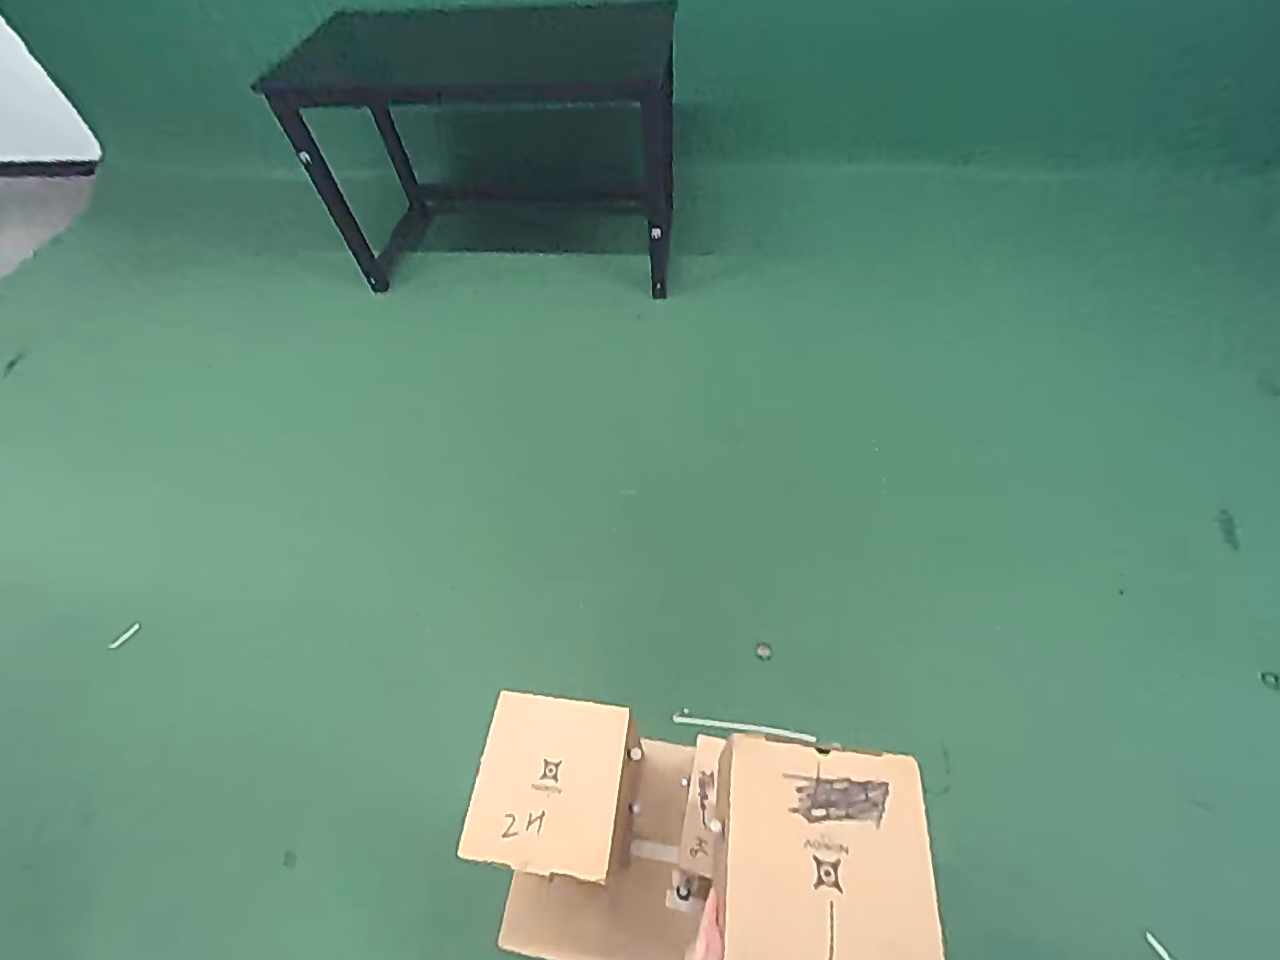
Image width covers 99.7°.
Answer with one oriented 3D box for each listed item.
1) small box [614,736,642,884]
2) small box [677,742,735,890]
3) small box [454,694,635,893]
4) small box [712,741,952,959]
[{"bbox_3d":[-0.091,0.479,0.808,0.168,0.176,0.179,6,56,8],"label":"small box"},{"bbox_3d":[0.155,0.496,0.772,0.179,0.176,0.168,9,55,12],"label":"small box"},{"bbox_3d":[-0.100,0.387,0.671,0.168,0.176,0.179,5,55,8],"label":"small box"},{"bbox_3d":[0.155,0.356,0.491,0.168,0.176,0.179,4,56,7],"label":"small box"}]
